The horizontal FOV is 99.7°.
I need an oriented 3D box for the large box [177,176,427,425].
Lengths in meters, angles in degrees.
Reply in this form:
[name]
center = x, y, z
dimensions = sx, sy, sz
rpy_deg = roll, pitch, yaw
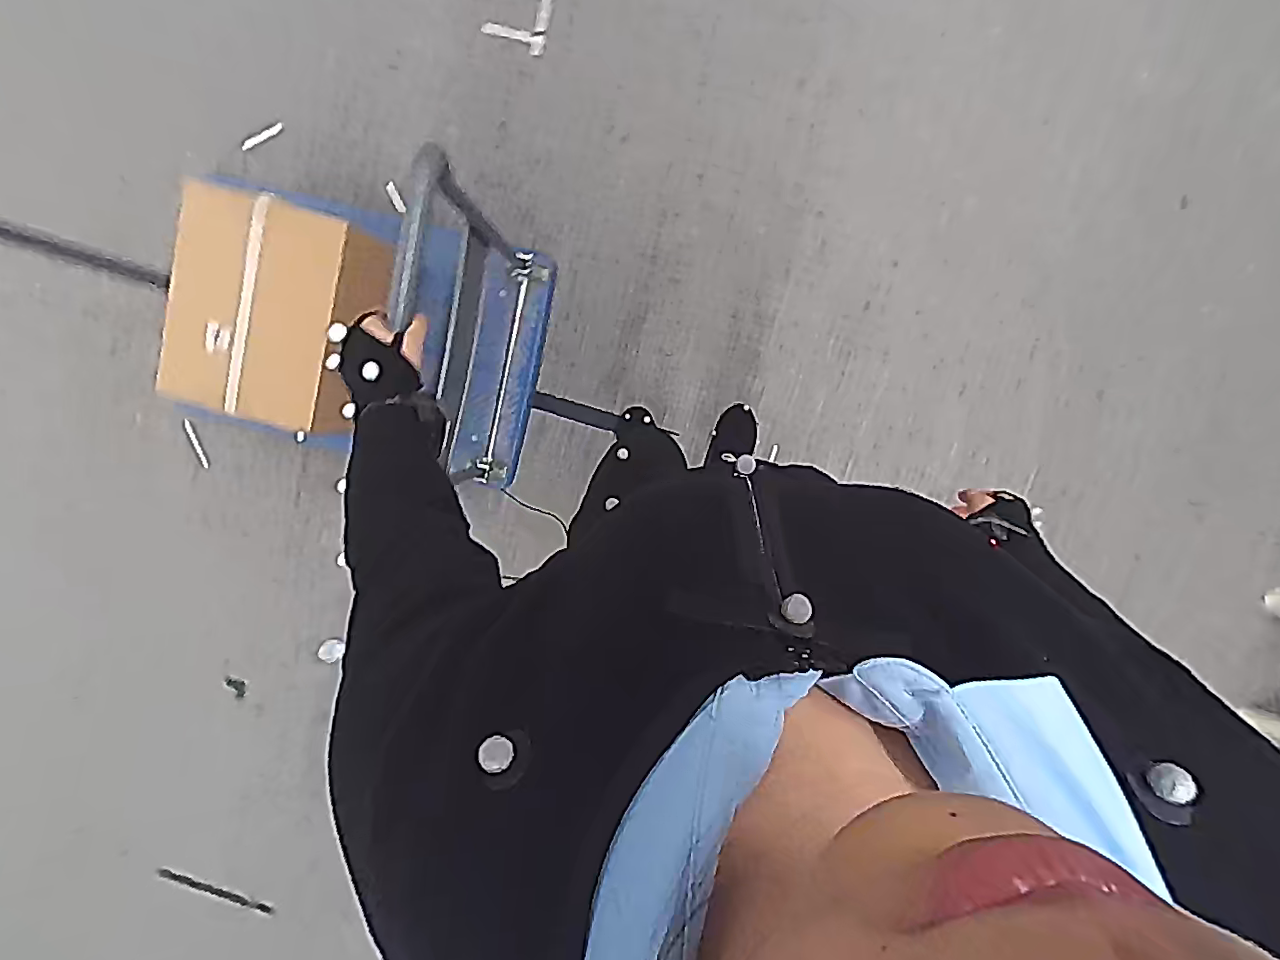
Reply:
[large box]
center = -0.701, -0.358, 1.168
dimensions = 0.320, 0.320, 0.408
rpy_deg = 16, 99, 1
